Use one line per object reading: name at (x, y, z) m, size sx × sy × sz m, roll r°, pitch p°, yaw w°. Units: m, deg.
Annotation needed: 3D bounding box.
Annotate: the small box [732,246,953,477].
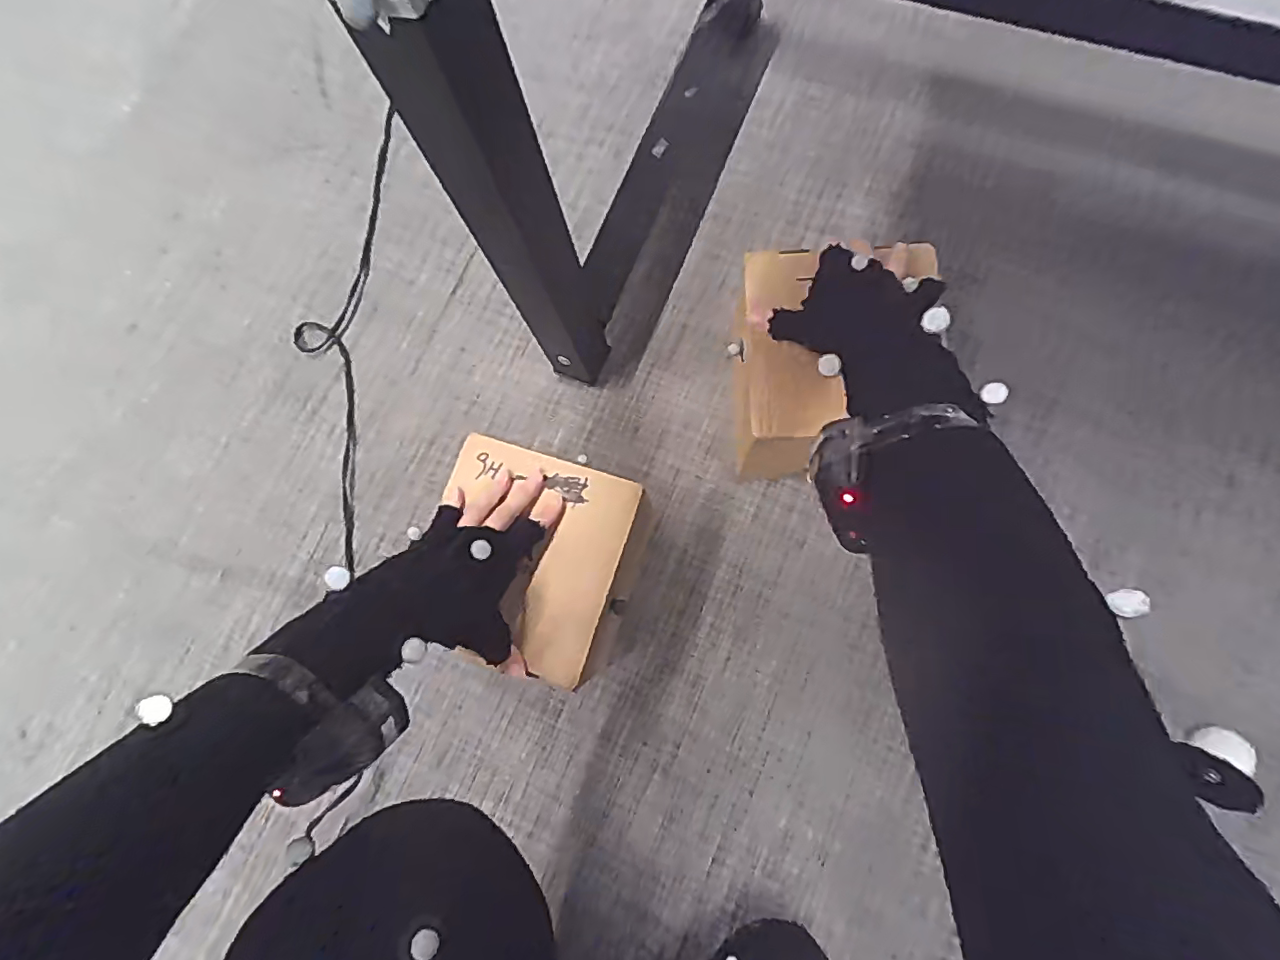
small box at (0.183, -0.107, 0.544) m, size 0.168 × 0.176 × 0.179 m, roll 0°, pitch 78°, yaw 5°
